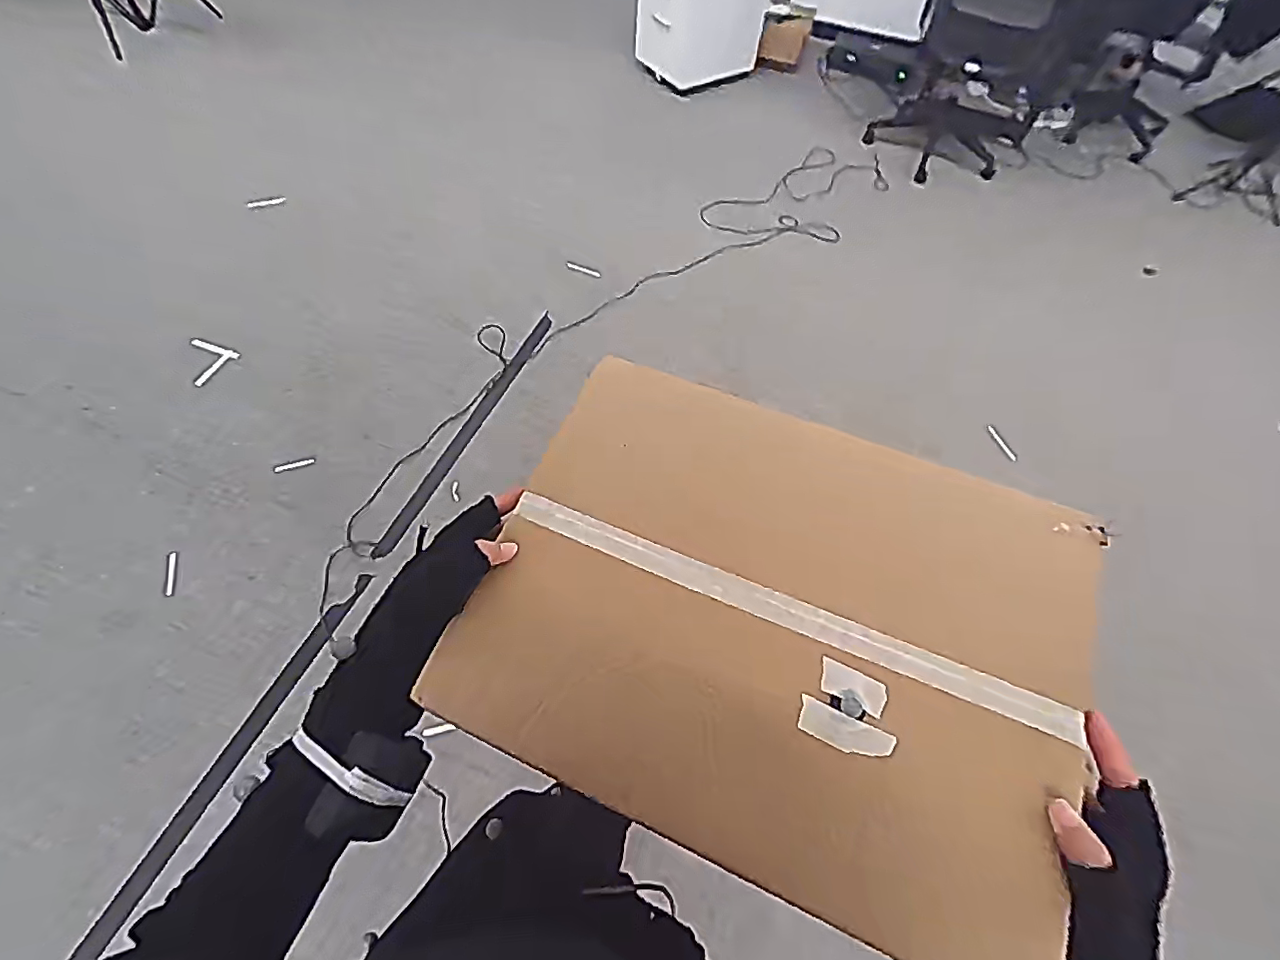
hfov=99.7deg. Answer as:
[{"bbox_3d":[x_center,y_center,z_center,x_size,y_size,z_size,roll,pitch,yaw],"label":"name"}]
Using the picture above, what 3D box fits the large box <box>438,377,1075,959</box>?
[{"bbox_3d":[0.099,0.160,0.532,0.408,0.320,0.320,21,68,12],"label":"large box"}]
